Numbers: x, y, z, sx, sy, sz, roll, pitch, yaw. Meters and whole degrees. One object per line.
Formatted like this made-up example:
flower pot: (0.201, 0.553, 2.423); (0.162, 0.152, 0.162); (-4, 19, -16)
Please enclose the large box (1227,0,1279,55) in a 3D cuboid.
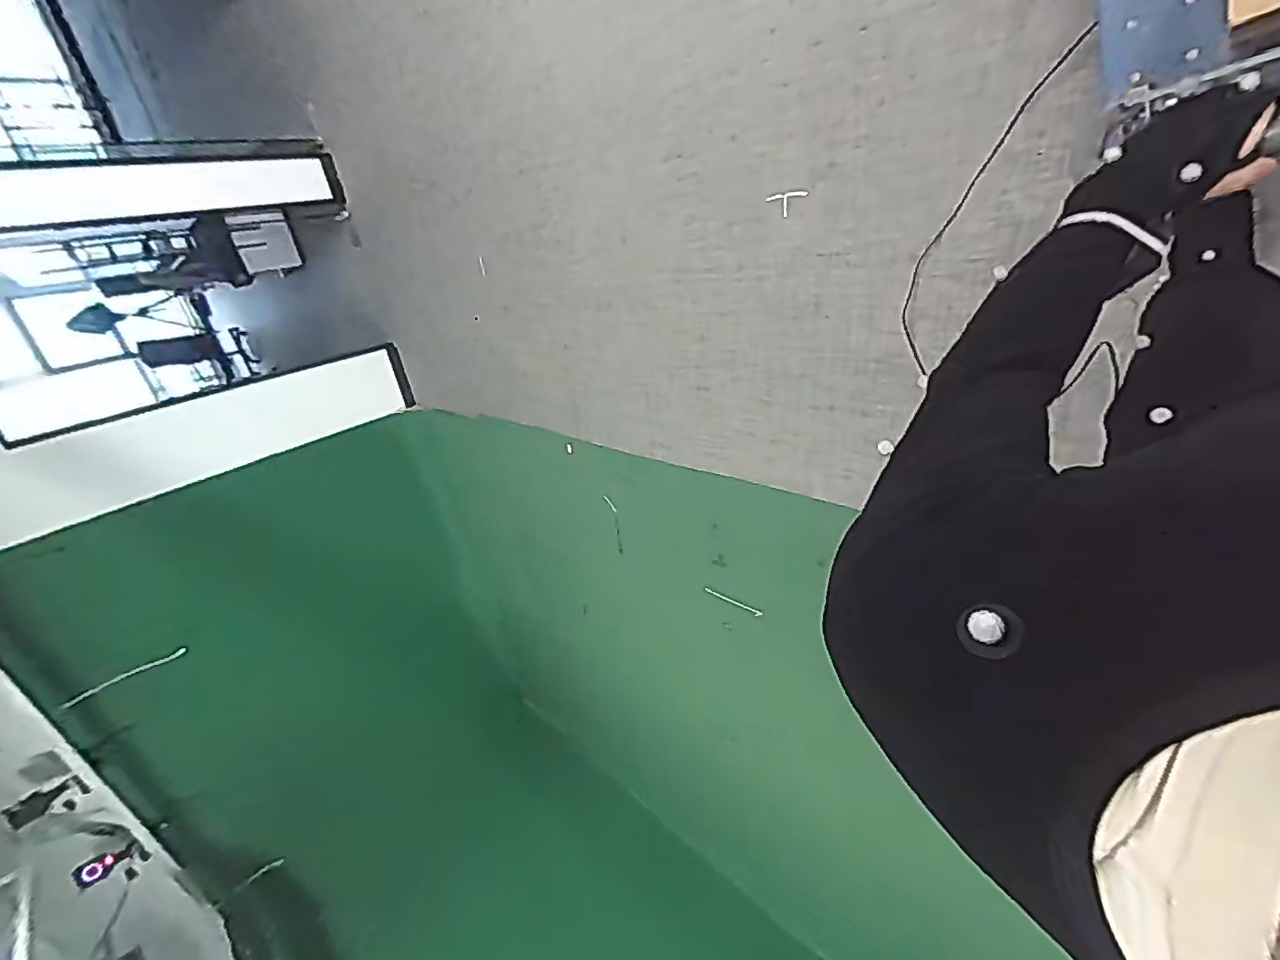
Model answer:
large box: (0.880, -0.786, 0.595); (0.320, 0.320, 0.408); (1, 114, 47)
